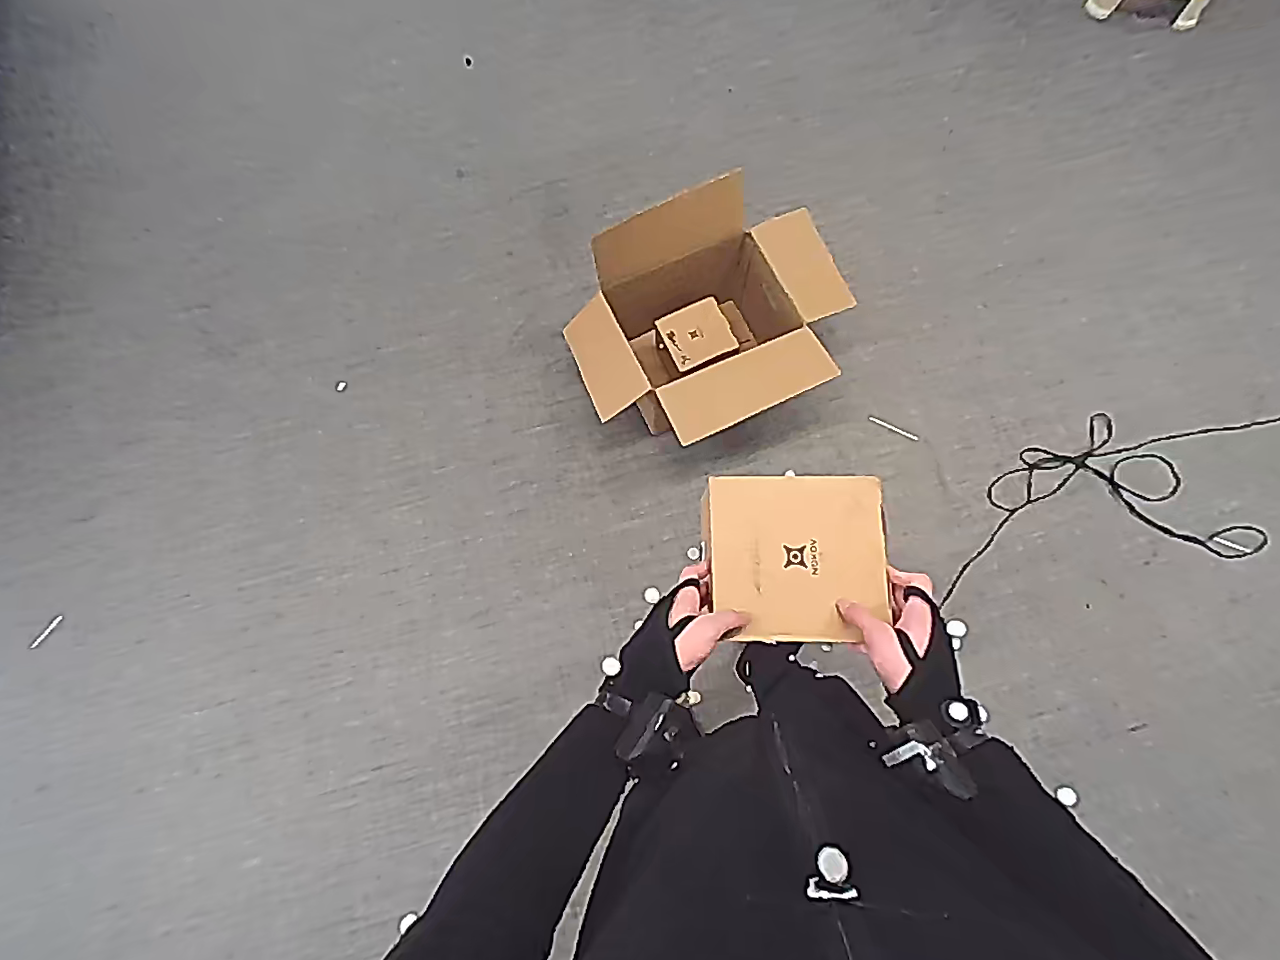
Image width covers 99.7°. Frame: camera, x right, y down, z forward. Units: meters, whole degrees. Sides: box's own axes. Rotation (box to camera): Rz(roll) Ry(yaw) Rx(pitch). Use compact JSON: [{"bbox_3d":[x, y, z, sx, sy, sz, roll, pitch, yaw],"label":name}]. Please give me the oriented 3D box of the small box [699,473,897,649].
[{"bbox_3d":[0.161,0.094,0.605,0.179,0.176,0.168,2,76,3],"label":"small box"}]
